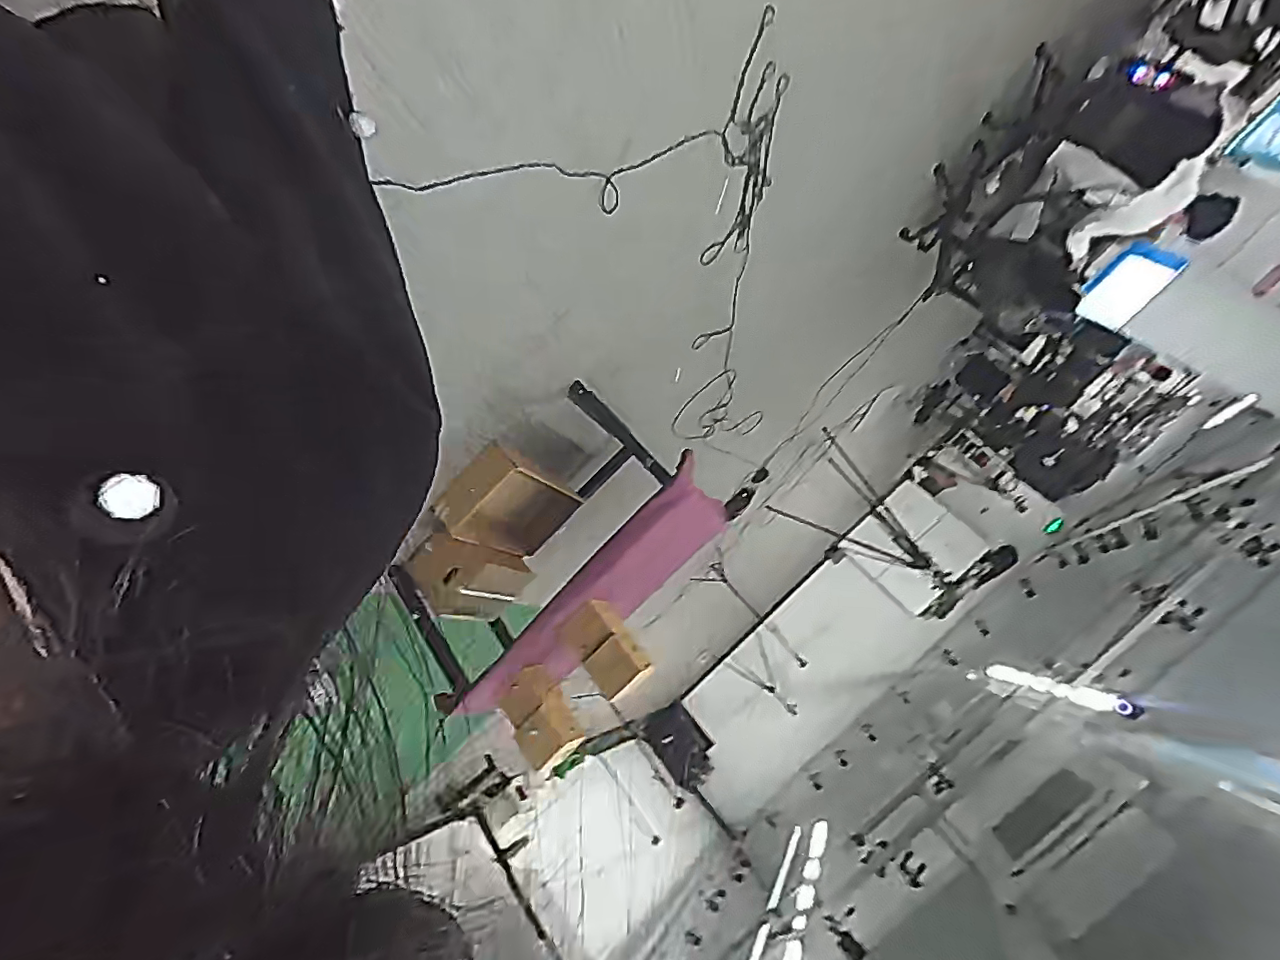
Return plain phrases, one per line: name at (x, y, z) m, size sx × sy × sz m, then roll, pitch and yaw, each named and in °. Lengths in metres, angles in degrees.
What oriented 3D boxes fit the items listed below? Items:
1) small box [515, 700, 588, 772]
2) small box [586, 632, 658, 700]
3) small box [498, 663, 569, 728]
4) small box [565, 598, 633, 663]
small box at (-0.333, 0.958, 2.045) m, size 0.168 × 0.176 × 0.179 m, roll -48°, pitch 155°, yaw 6°
small box at (-0.068, 0.680, 2.001) m, size 0.179 × 0.176 × 0.168 m, roll -47°, pitch 154°, yaw 6°
small box at (-0.420, 0.841, 2.124) m, size 0.168 × 0.176 × 0.179 m, roll -47°, pitch 155°, yaw 6°
small box at (-0.166, 0.579, 2.087) m, size 0.179 × 0.176 × 0.168 m, roll -46°, pitch 155°, yaw 5°
